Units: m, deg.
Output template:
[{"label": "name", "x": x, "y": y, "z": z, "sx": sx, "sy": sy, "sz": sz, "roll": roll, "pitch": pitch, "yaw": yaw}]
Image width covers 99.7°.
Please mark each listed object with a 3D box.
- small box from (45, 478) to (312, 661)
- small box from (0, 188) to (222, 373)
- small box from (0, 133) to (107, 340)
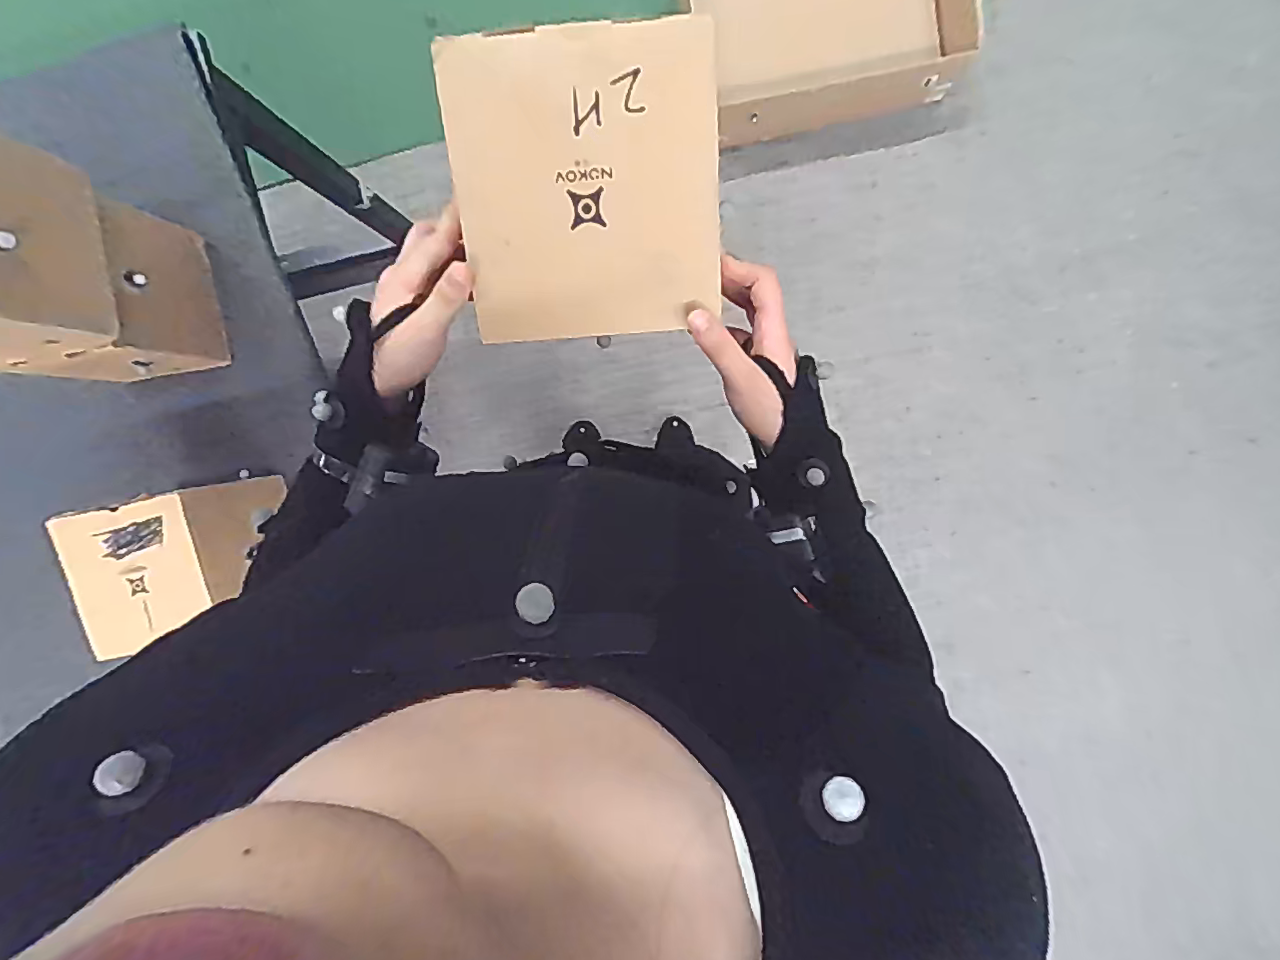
[{"label": "small box", "x": -0.559, "y": 0.098, "z": 0.683, "sx": 0.168, "sy": 0.176, "sz": 0.179, "roll": -11, "pitch": 98, "yaw": 4}, {"label": "small box", "x": -0.651, "y": -0.227, "z": 0.647, "sx": 0.168, "sy": 0.176, "sz": 0.179, "roll": -9, "pitch": 96, "yaw": 2}, {"label": "small box", "x": -0.641, "y": -0.222, "z": 0.482, "sx": 0.168, "sy": 0.176, "sz": 0.179, "roll": -6, "pitch": 97, "yaw": 2}]
